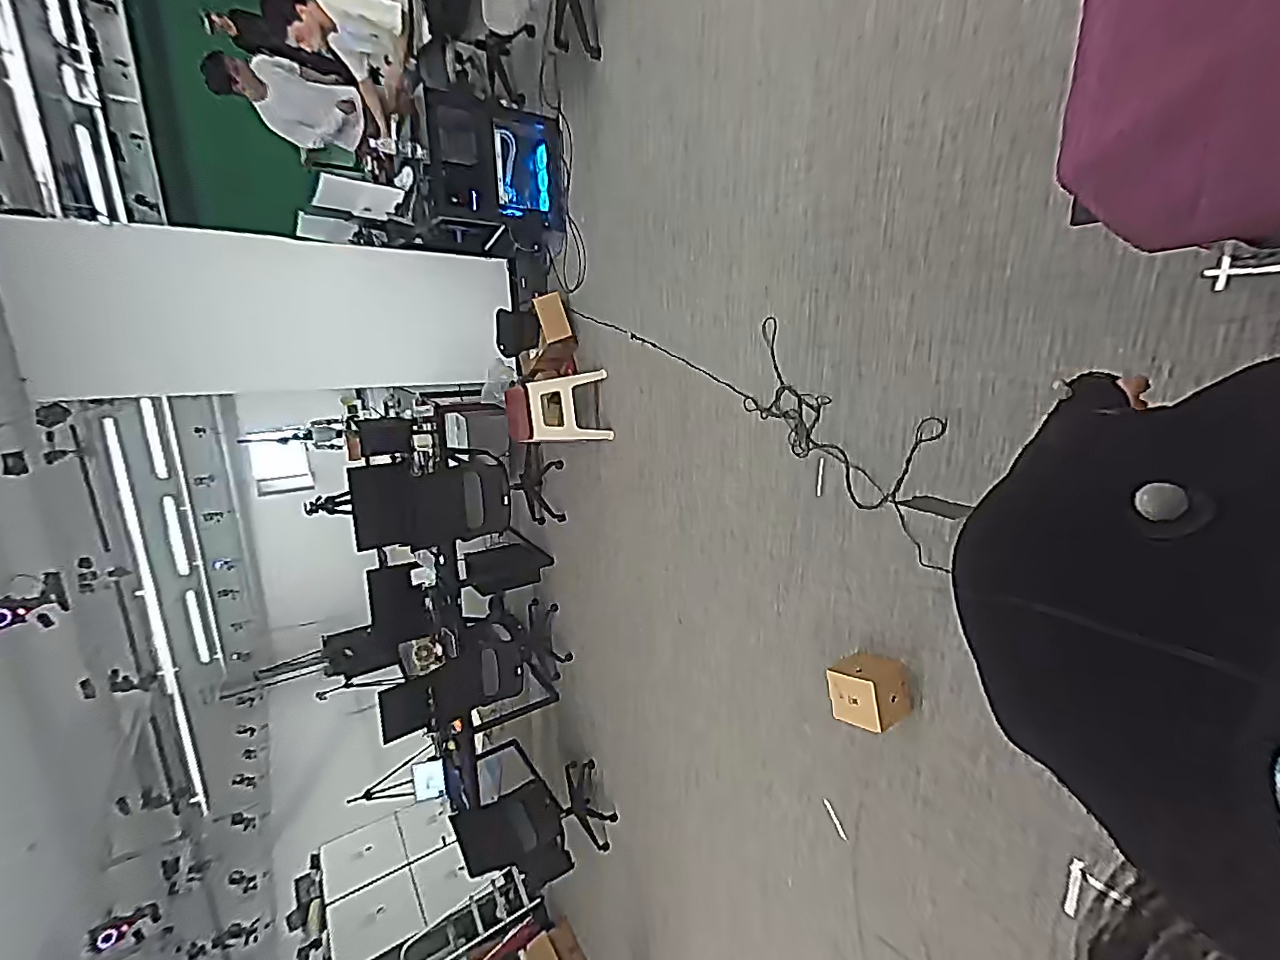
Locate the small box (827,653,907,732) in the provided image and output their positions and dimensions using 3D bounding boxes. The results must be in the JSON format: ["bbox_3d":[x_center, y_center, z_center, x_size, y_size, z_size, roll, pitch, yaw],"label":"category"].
[{"bbox_3d":[0.736,0.676,1.742,0.179,0.176,0.168,-7,93,57],"label":"small box"}]
